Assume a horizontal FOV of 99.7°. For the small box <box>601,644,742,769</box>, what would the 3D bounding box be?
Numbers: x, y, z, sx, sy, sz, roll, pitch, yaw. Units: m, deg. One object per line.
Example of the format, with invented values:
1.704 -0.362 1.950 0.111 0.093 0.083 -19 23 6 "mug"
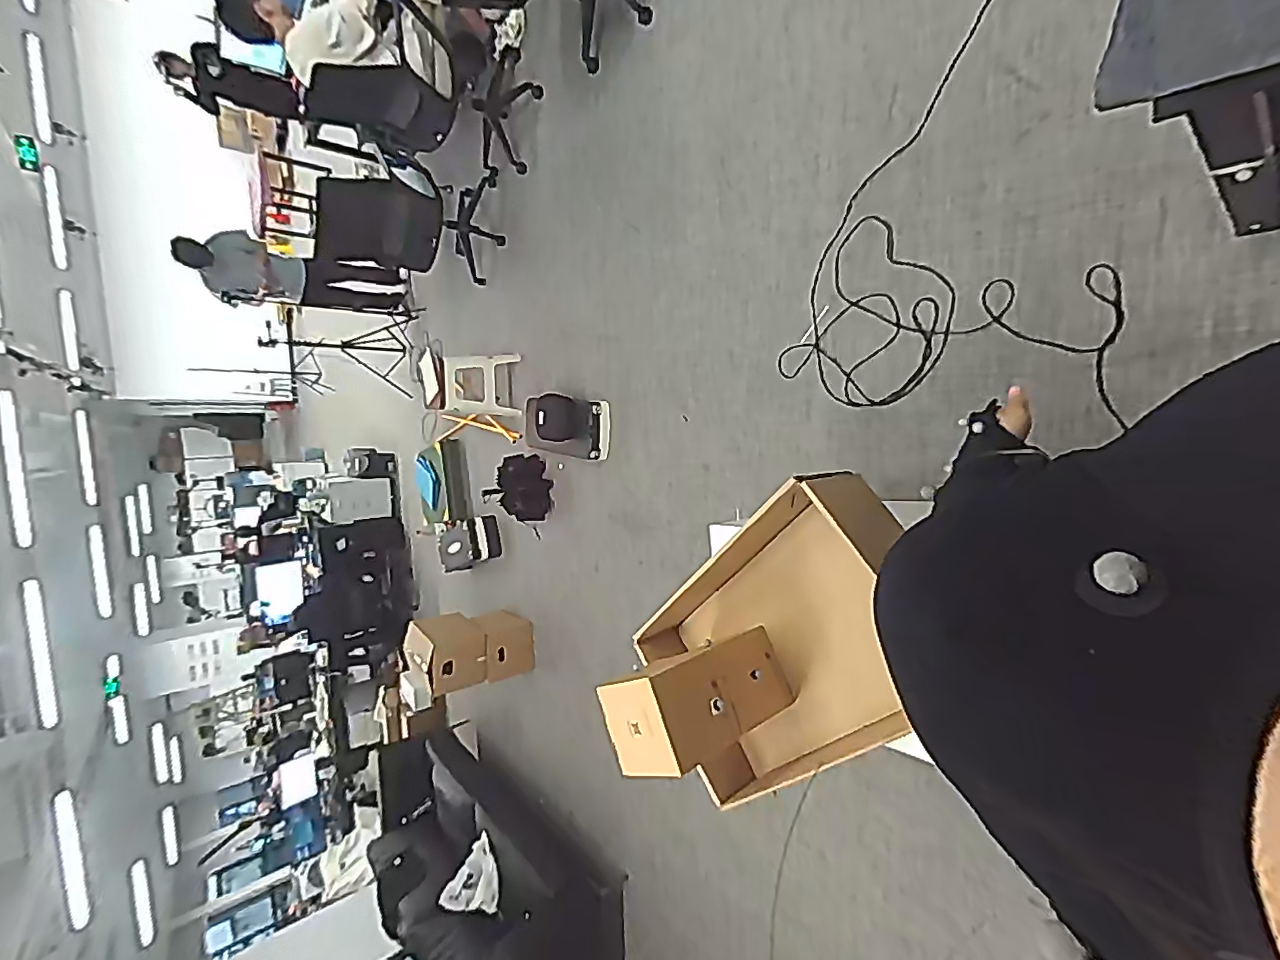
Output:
0.059 0.425 1.021 0.179 0.176 0.168 -34 71 46 "small box"
